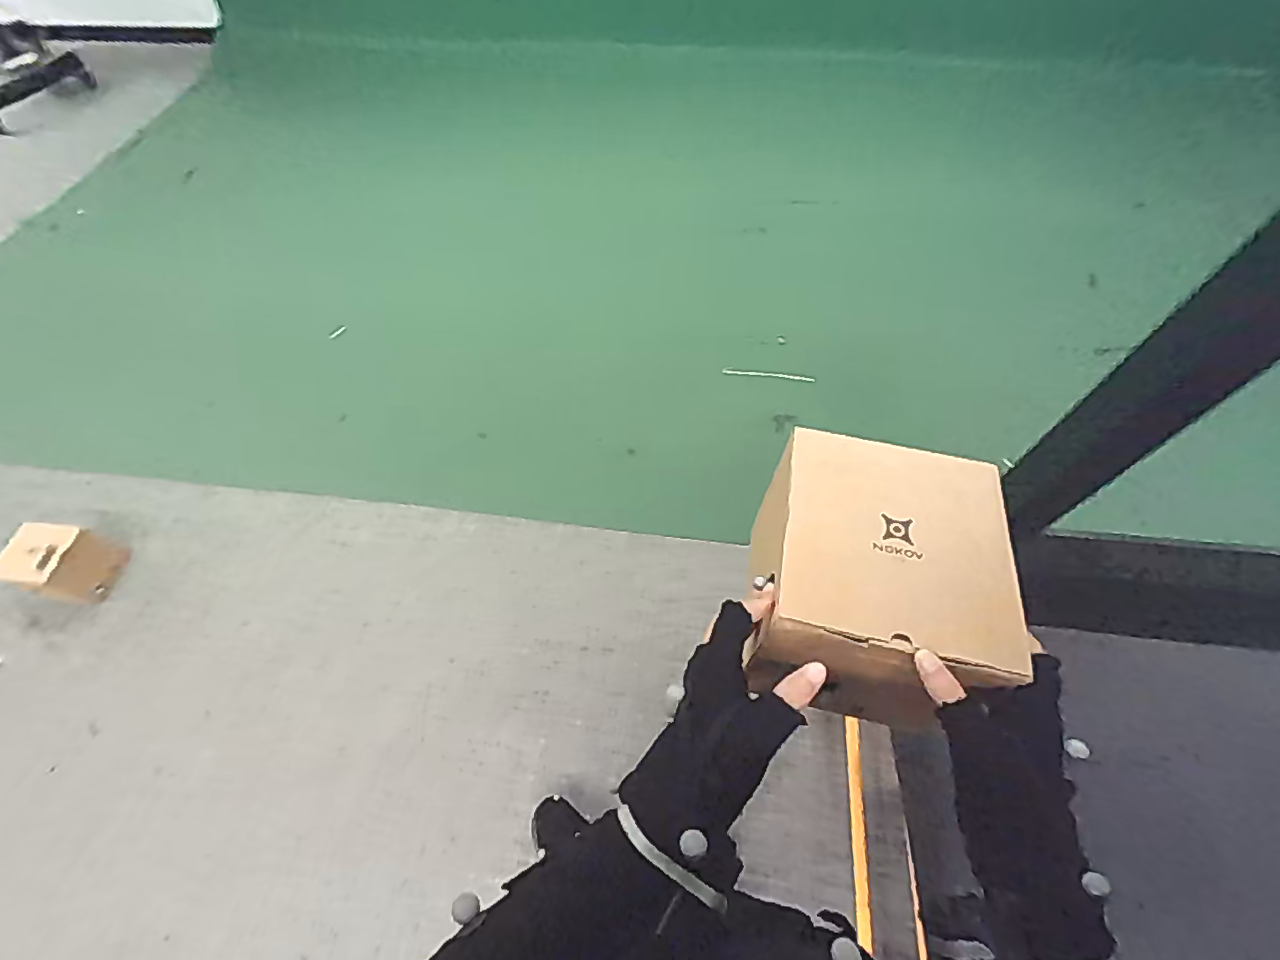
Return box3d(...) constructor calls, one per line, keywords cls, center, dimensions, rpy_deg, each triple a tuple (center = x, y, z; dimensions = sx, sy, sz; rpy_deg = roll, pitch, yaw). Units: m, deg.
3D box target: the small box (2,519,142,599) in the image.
box3d(cls="small box", center=(-1.581, 0.227, 1.521), dimensions=(0.179, 0.176, 0.168), rpy_deg=(5, 59, 5))
